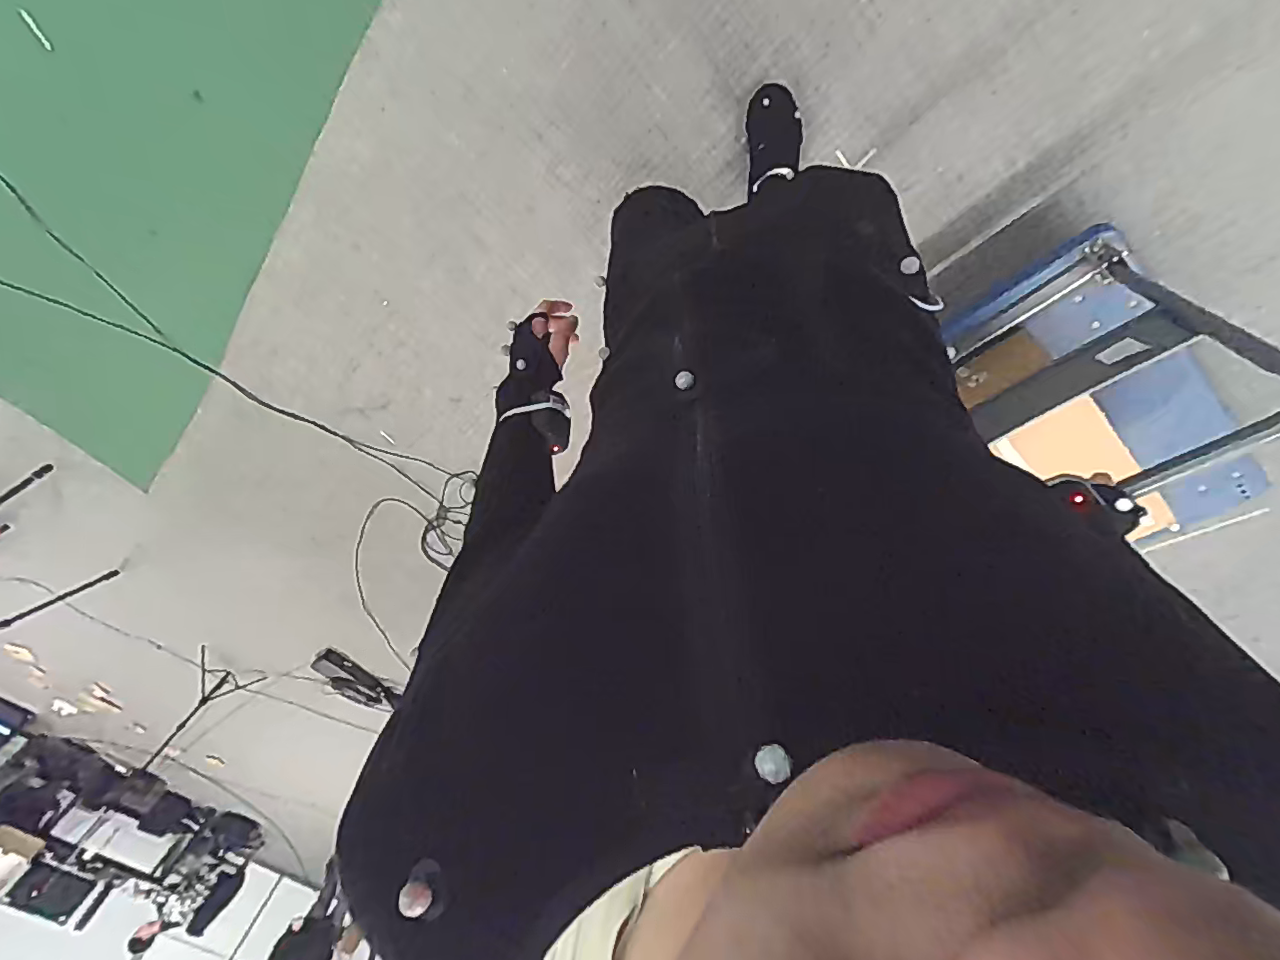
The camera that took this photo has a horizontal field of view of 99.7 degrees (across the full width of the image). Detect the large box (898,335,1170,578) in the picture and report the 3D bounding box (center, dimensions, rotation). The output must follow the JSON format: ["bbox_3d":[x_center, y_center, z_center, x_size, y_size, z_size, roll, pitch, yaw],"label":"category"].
[{"bbox_3d":[0.879,-0.053,1.258,0.408,0.320,0.320,41,125,-17],"label":"large box"}]
